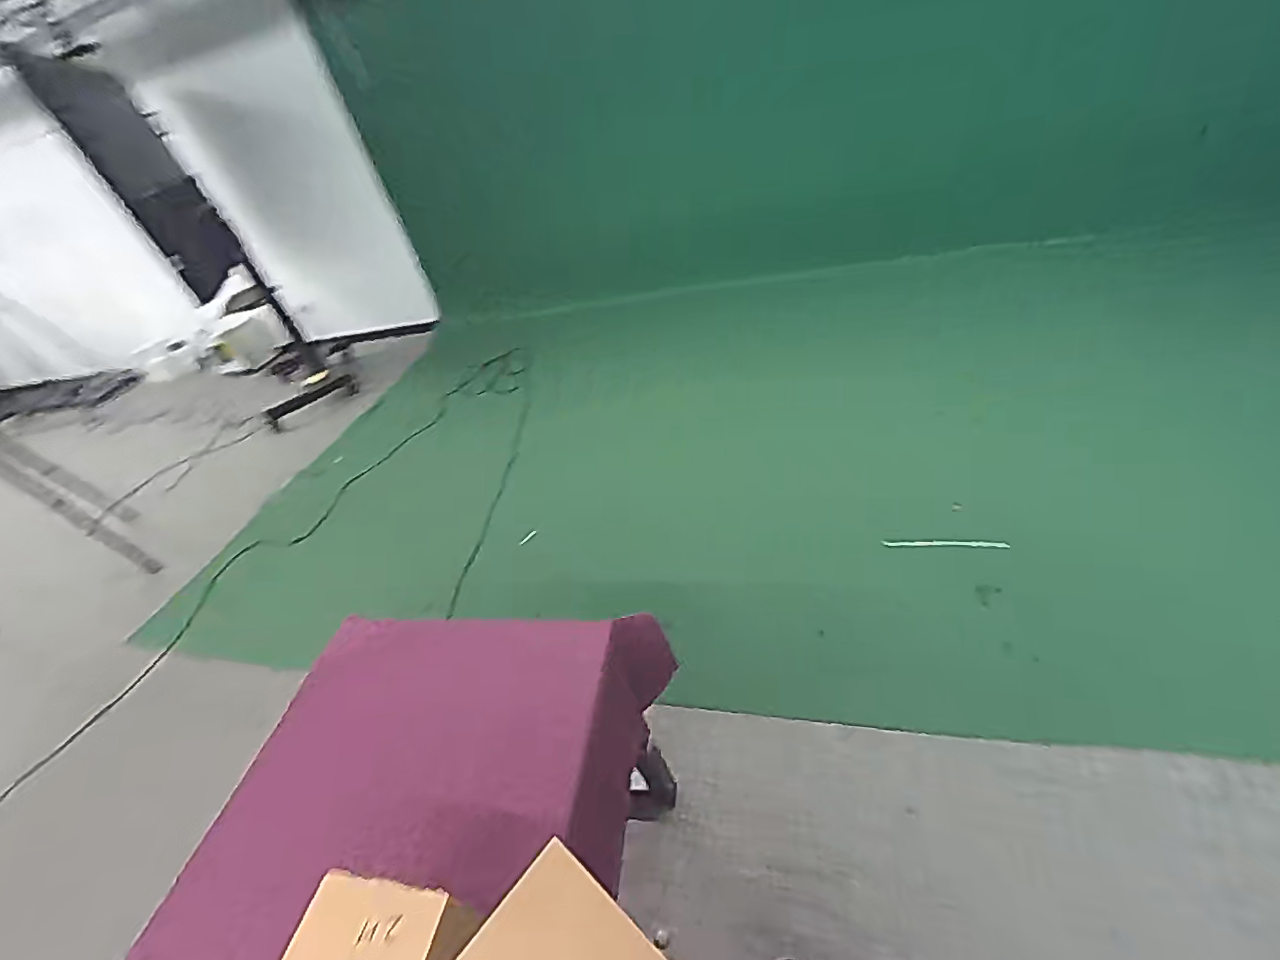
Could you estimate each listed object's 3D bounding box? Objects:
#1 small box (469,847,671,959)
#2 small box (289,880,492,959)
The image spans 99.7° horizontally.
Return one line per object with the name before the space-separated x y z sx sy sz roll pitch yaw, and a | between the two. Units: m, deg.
small box | -0.040 0.394 0.360 0.179 0.176 0.168 34 55 27
small box | -0.272 0.568 0.579 0.168 0.176 0.179 -3 40 17
